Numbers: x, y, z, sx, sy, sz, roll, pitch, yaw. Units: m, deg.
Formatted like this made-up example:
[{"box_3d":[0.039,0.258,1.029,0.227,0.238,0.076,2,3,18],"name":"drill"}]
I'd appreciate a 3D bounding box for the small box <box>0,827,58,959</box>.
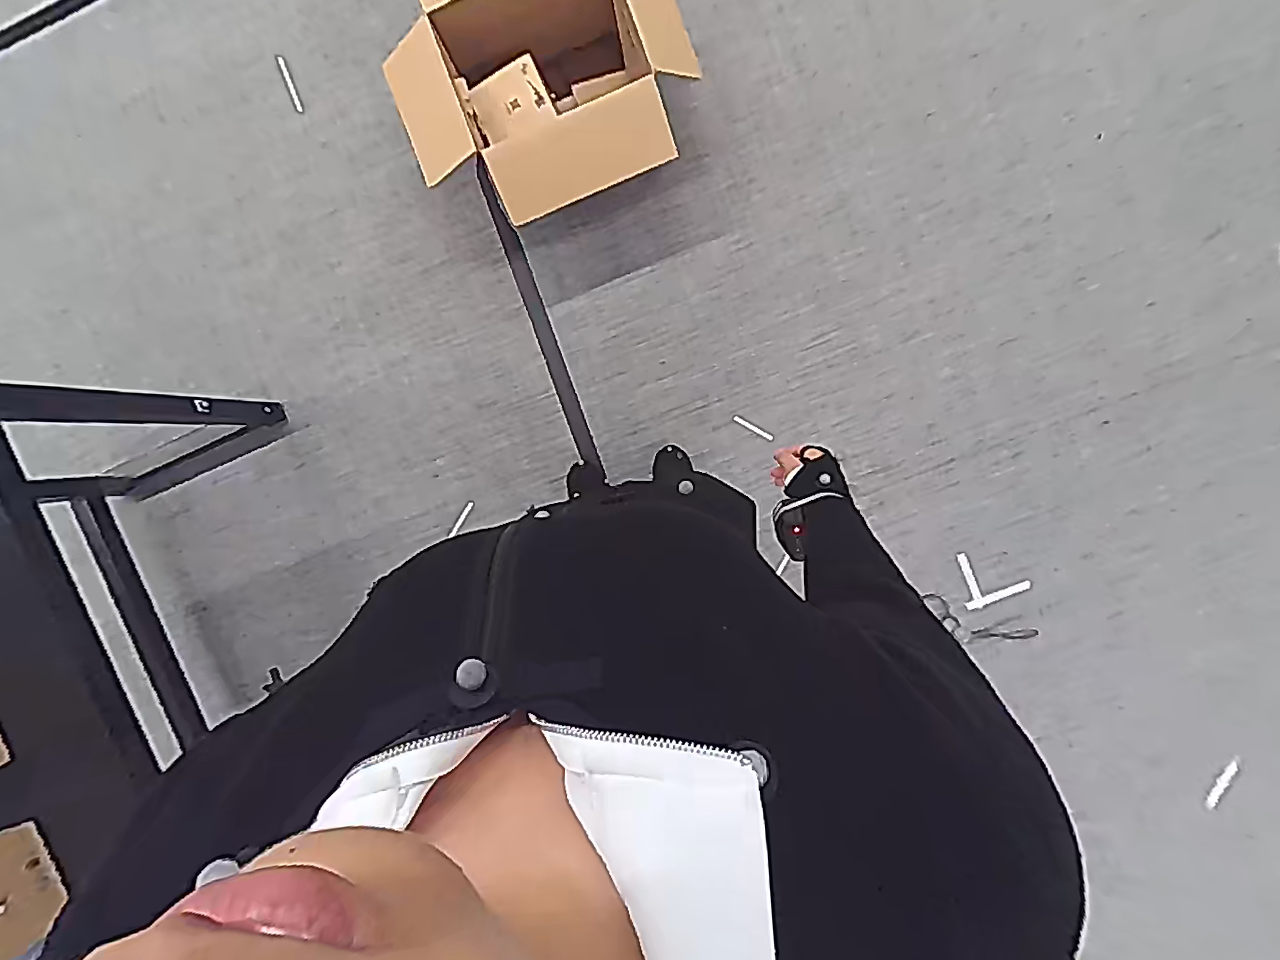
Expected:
[{"box_3d":[-1.020,0.651,0.786,0.179,0.176,0.168,-21,92,5],"name":"small box"}]
